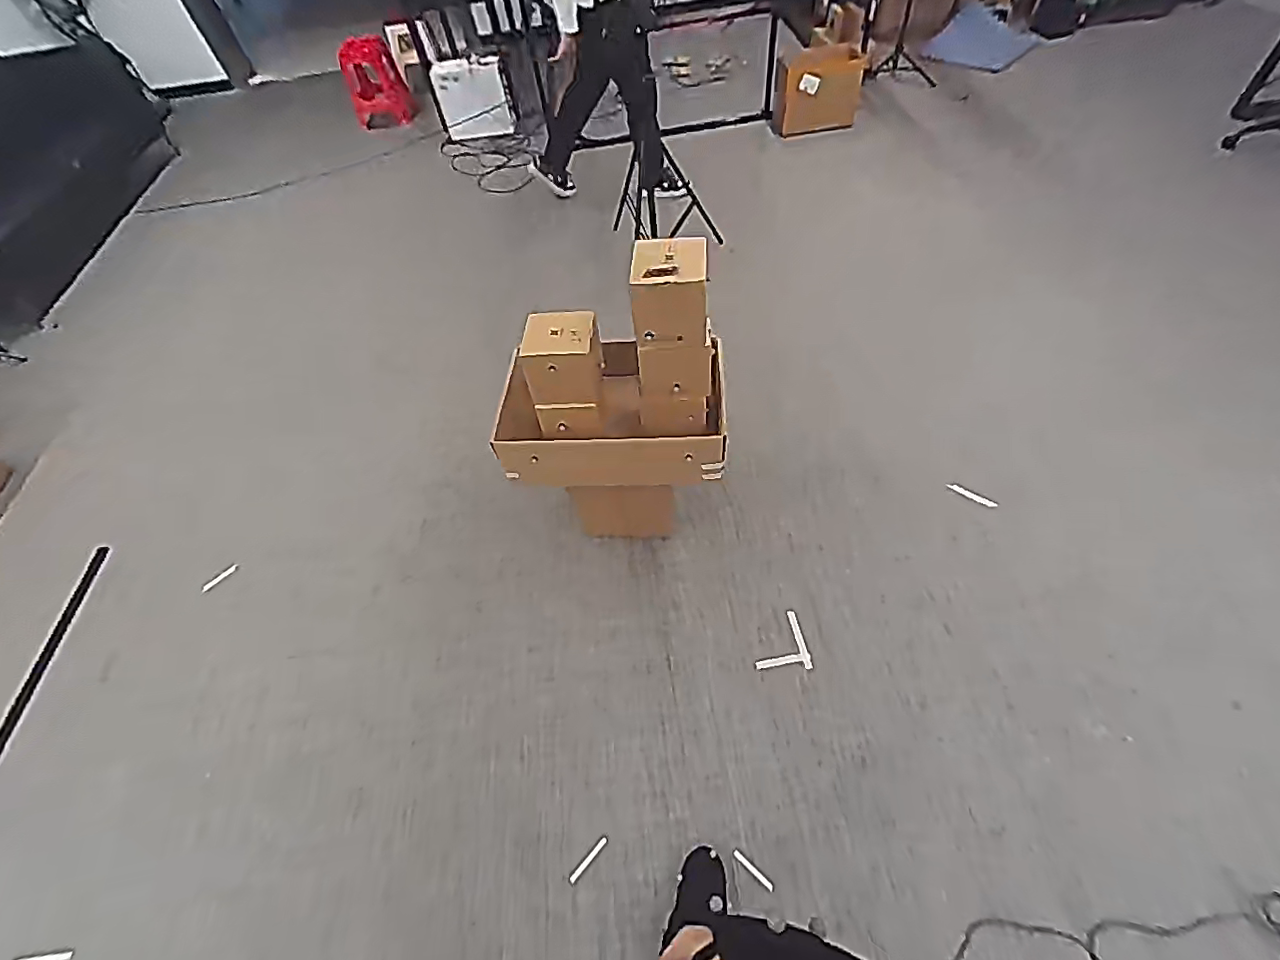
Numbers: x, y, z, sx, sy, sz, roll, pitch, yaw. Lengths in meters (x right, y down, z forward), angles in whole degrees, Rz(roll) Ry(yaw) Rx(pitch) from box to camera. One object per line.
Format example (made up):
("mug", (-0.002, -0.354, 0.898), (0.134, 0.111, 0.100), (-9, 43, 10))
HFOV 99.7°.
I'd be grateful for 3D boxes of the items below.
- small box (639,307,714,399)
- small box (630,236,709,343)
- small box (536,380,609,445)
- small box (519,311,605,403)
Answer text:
("small box", (0.090, -0.322, 1.365), (0.179, 0.176, 0.168), (-3, 54, 4))
("small box", (0.074, -0.431, 1.241), (0.168, 0.176, 0.179), (0, 53, 7))
("small box", (-0.183, -0.209, 1.523), (0.168, 0.176, 0.179), (-2, 53, 4))
("small box", (-0.193, -0.313, 1.395), (0.179, 0.176, 0.168), (-1, 54, 5))
